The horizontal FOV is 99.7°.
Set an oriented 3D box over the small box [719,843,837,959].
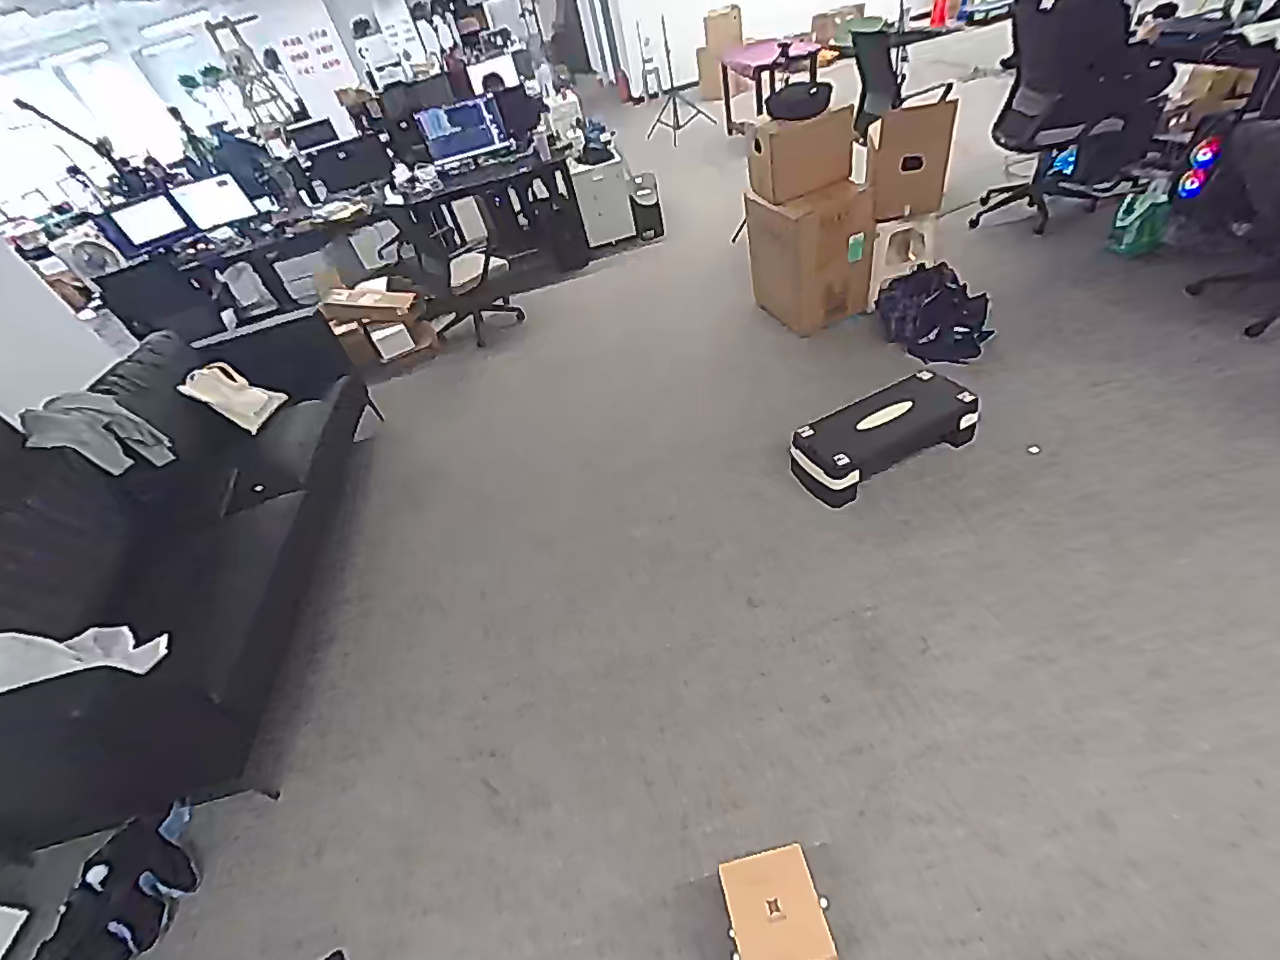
[{"bbox_3d":[0.259,0.827,1.025,0.168,0.176,0.179,-15,41,1],"label":"small box"}]
